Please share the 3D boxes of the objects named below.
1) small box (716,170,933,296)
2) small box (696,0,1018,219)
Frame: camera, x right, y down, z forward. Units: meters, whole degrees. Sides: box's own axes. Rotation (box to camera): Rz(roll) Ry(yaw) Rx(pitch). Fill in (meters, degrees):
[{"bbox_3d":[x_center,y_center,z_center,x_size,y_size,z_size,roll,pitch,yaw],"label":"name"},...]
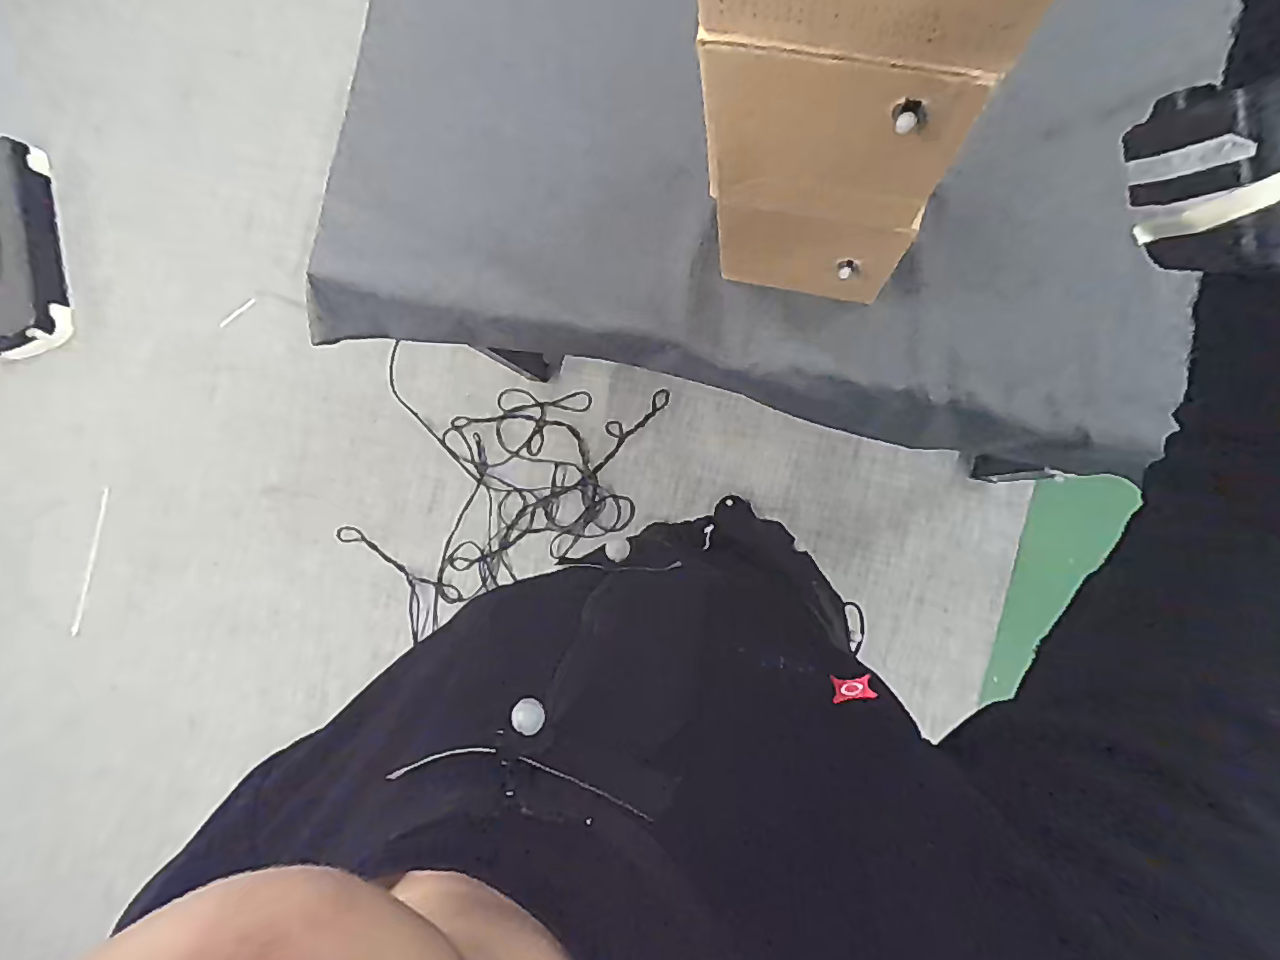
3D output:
[{"bbox_3d":[0.184,-0.304,0.549,0.179,0.176,0.168,13,89,12],"label":"small box"},{"bbox_3d":[0.149,-0.317,0.391,0.179,0.176,0.168,15,89,9],"label":"small box"}]
